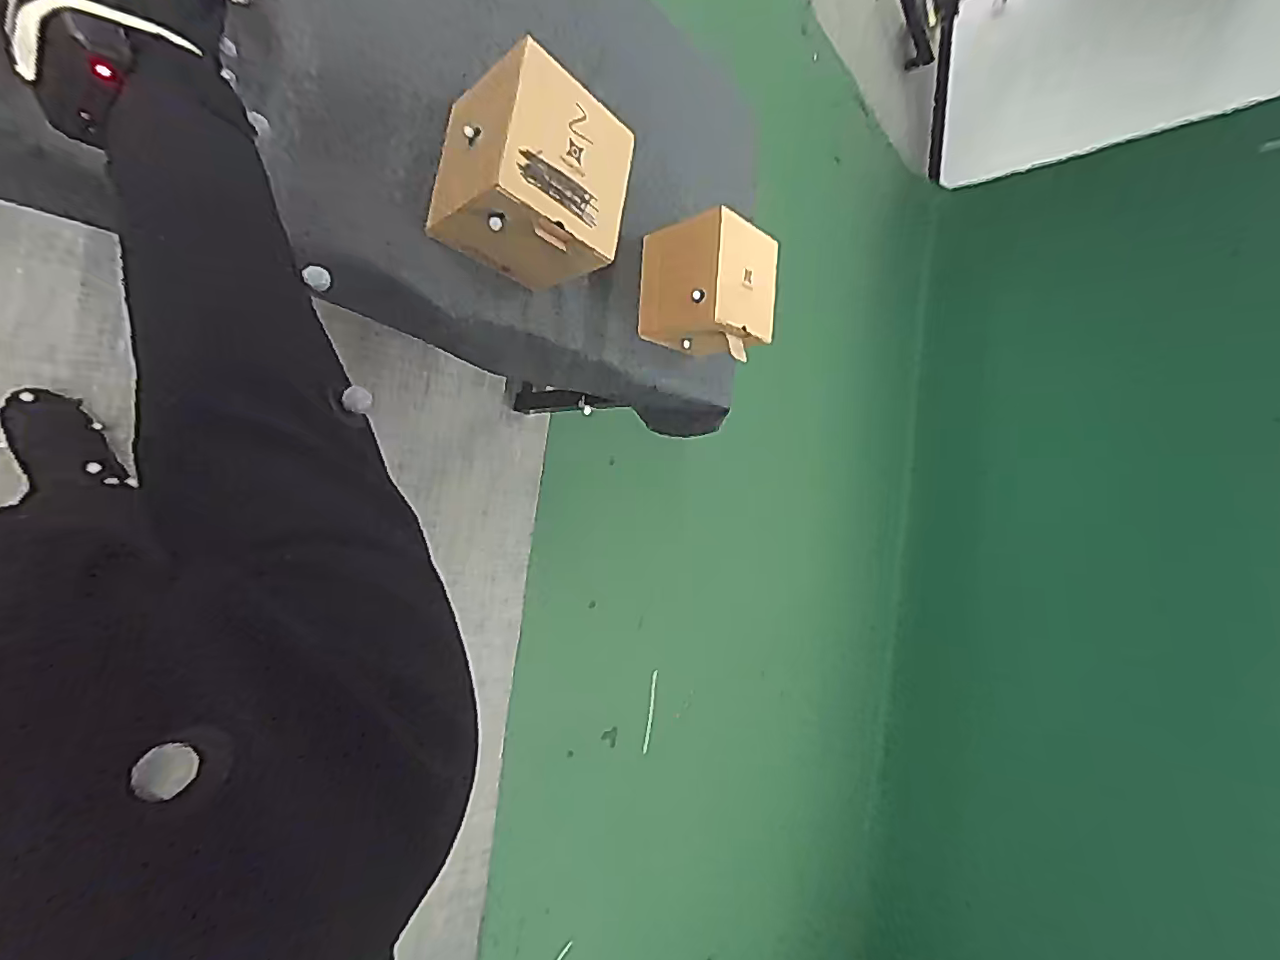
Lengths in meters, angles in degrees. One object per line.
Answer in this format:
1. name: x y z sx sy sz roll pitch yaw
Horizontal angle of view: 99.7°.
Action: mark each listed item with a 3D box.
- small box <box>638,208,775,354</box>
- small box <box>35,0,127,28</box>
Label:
1. small box: 0.112 -0.326 0.928 0.168 0.176 0.179 4 90 -46
2. small box: -0.432 -0.457 0.349 0.179 0.176 0.168 15 85 -48
